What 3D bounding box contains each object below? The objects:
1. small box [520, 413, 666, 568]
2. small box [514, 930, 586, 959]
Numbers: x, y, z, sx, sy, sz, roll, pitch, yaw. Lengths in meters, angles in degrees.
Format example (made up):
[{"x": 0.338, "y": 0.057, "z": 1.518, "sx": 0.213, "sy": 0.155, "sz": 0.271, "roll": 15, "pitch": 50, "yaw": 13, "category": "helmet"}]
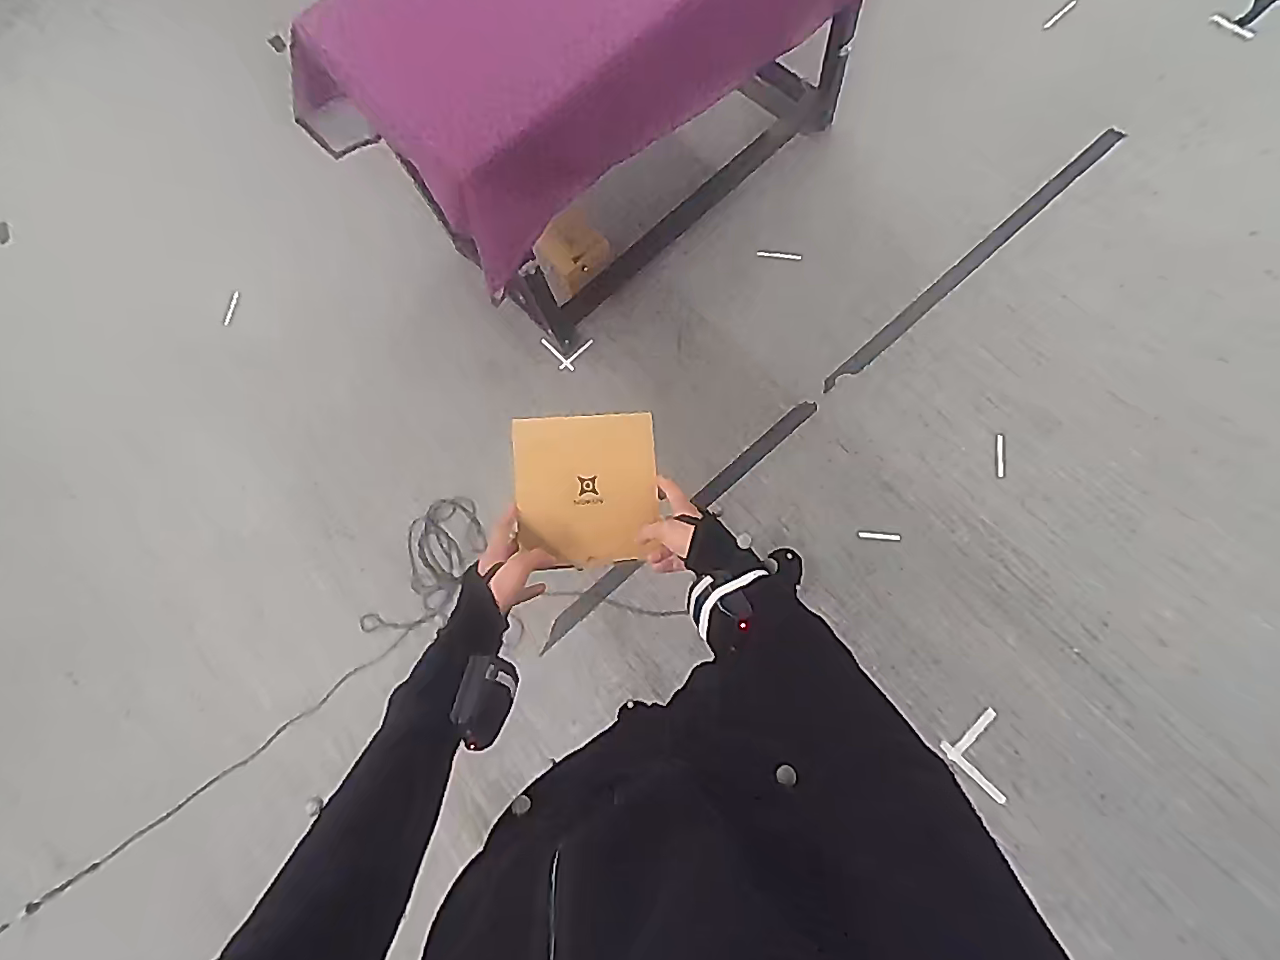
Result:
[{"x": -0.066, "y": 0.018, "z": 0.702, "sx": 0.168, "sy": 0.176, "sz": 0.179, "roll": -3, "pitch": 86, "yaw": -8, "category": "small box"}, {"x": -0.187, "y": 1.028, "z": 1.046, "sx": 0.168, "sy": 0.176, "sz": 0.179, "roll": -37, "pitch": 76, "yaw": -3, "category": "small box"}]
